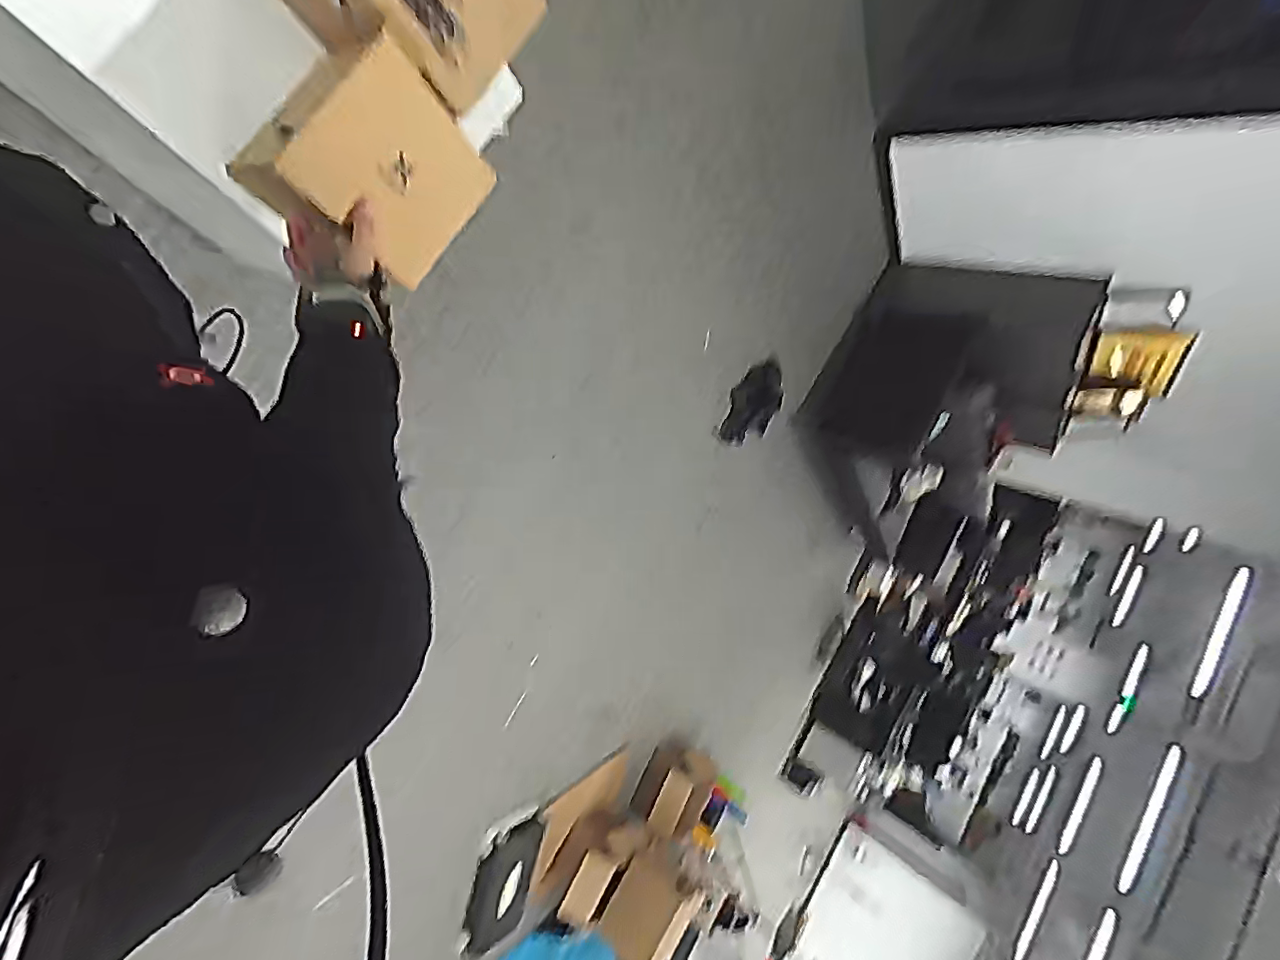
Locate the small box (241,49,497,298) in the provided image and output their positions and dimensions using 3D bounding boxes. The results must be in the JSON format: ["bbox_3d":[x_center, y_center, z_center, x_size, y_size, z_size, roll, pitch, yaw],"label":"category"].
[{"bbox_3d":[-0.308,-0.338,0.616,0.179,0.176,0.168,-58,142,-10],"label":"small box"}]
